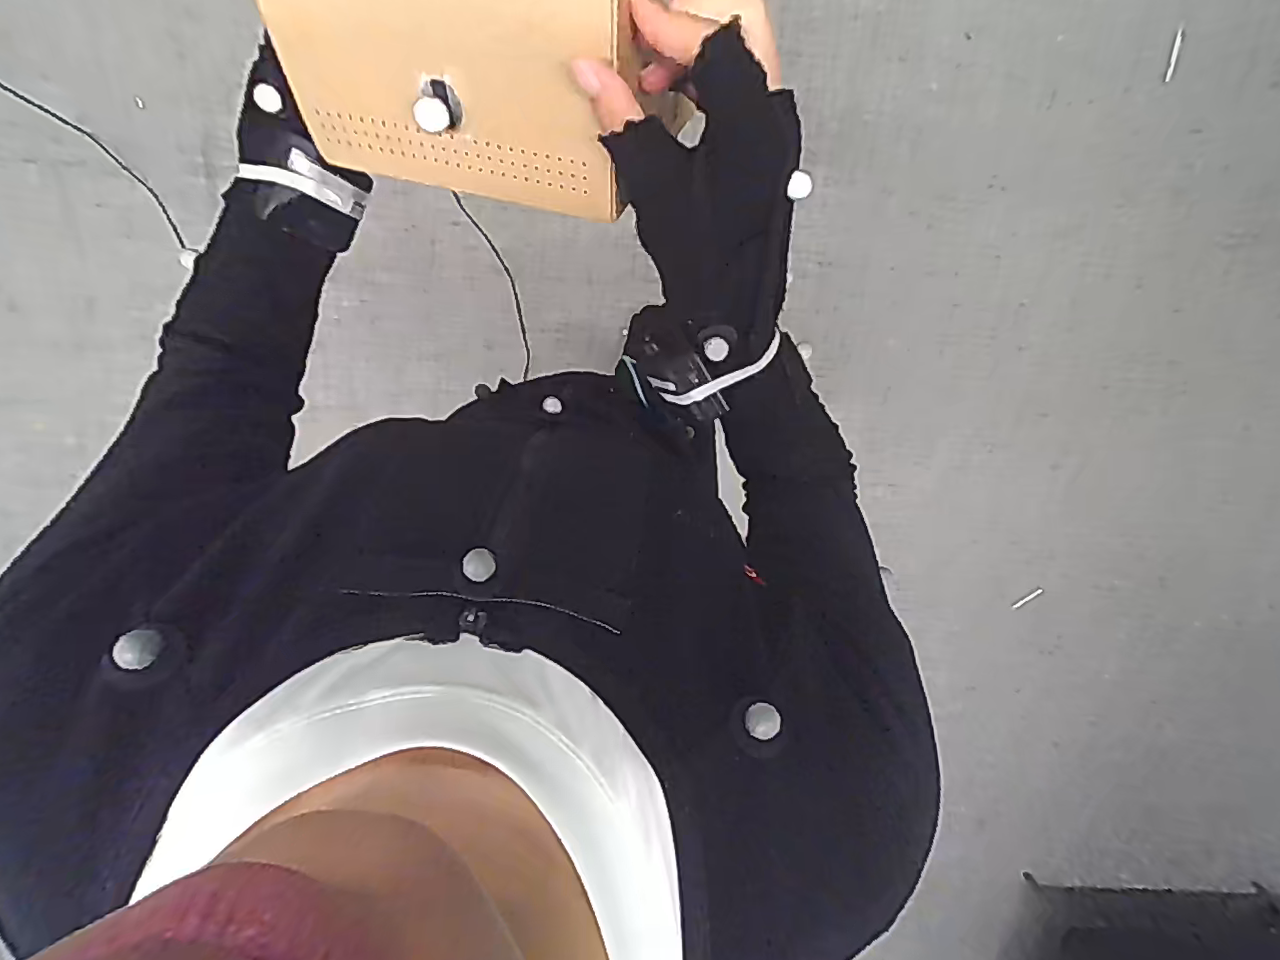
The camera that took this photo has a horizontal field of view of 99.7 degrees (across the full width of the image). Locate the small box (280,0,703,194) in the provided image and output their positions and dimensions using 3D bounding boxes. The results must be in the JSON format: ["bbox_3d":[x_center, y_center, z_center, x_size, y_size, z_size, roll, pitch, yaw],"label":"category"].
[{"bbox_3d":[-0.064,-0.273,0.273,0.179,0.168,0.176,16,145,9],"label":"small box"}]
